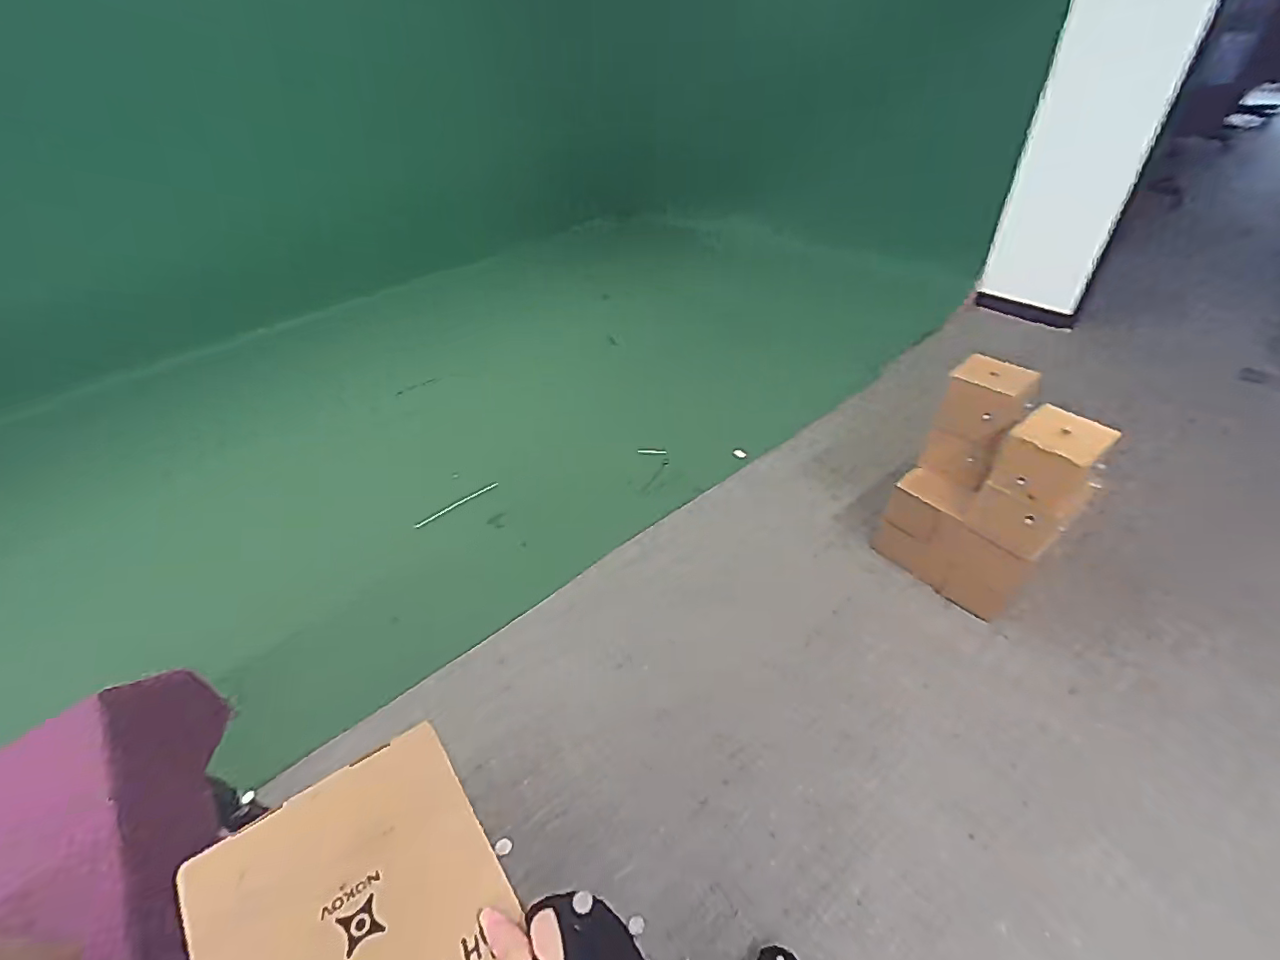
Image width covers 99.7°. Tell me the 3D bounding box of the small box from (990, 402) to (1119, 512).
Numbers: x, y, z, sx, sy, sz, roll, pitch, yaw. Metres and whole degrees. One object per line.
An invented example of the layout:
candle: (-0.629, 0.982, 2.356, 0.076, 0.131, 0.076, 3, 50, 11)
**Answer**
small box: (0.998, -0.056, 1.317, 0.179, 0.176, 0.168, -31, 49, -23)

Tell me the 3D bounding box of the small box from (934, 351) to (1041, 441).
small box: (0.966, -0.231, 1.516, 0.168, 0.176, 0.179, -31, 47, -27)

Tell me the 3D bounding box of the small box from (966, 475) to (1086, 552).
small box: (1.008, 0.066, 1.426, 0.168, 0.176, 0.179, -30, 48, -24)

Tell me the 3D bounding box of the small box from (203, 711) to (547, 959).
small box: (-0.183, 0.319, 0.405, 0.168, 0.176, 0.179, -24, 55, -28)
